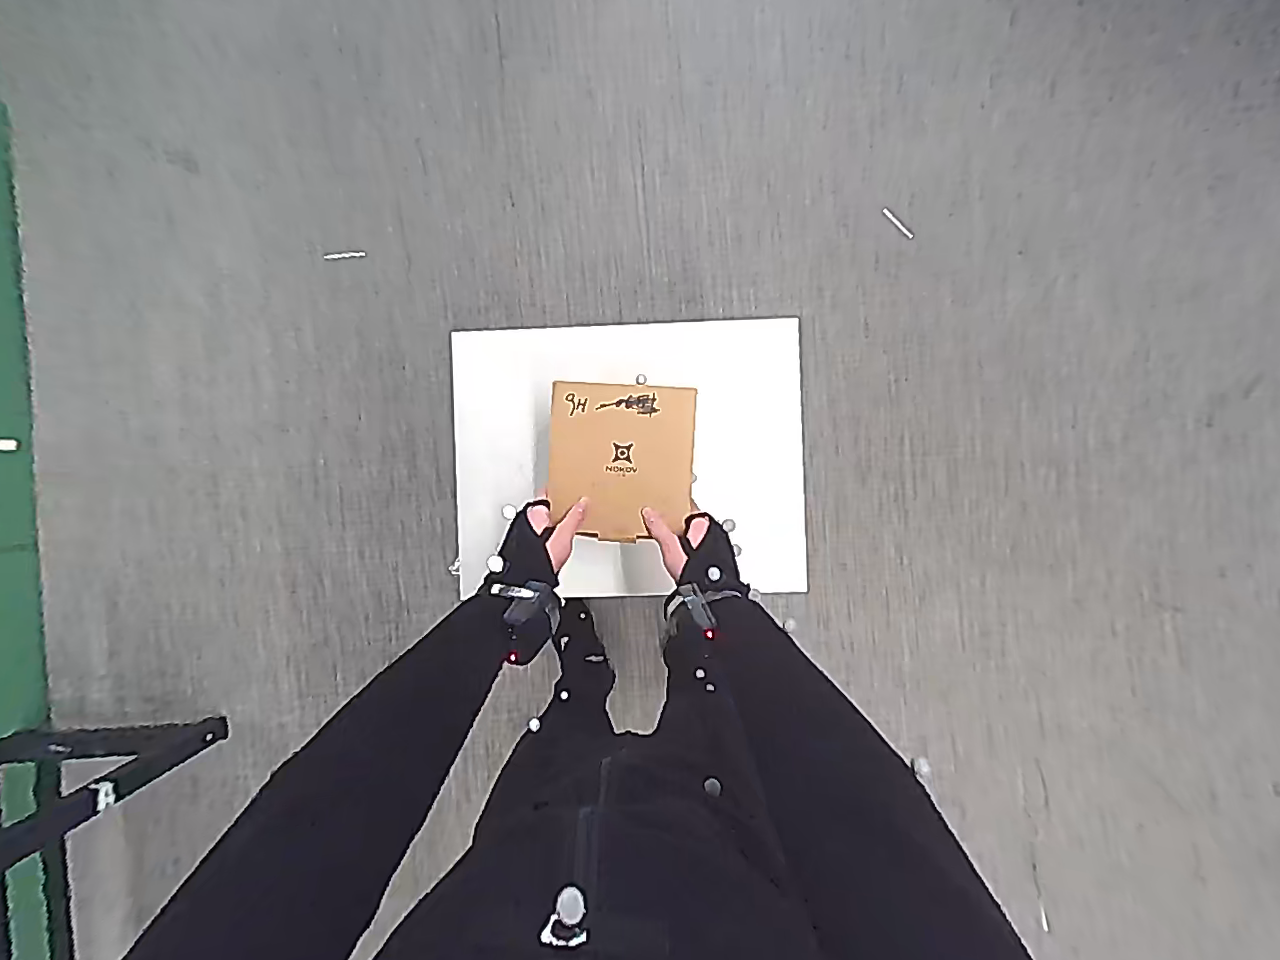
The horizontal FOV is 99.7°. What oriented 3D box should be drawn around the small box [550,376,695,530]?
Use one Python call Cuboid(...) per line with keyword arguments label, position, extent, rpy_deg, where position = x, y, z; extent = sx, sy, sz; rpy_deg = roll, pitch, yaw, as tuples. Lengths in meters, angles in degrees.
Cuboid(label="small box", position=(-0.019, -0.034, 0.702), extent=(0.168, 0.176, 0.179), rpy_deg=(1, 91, 0))
